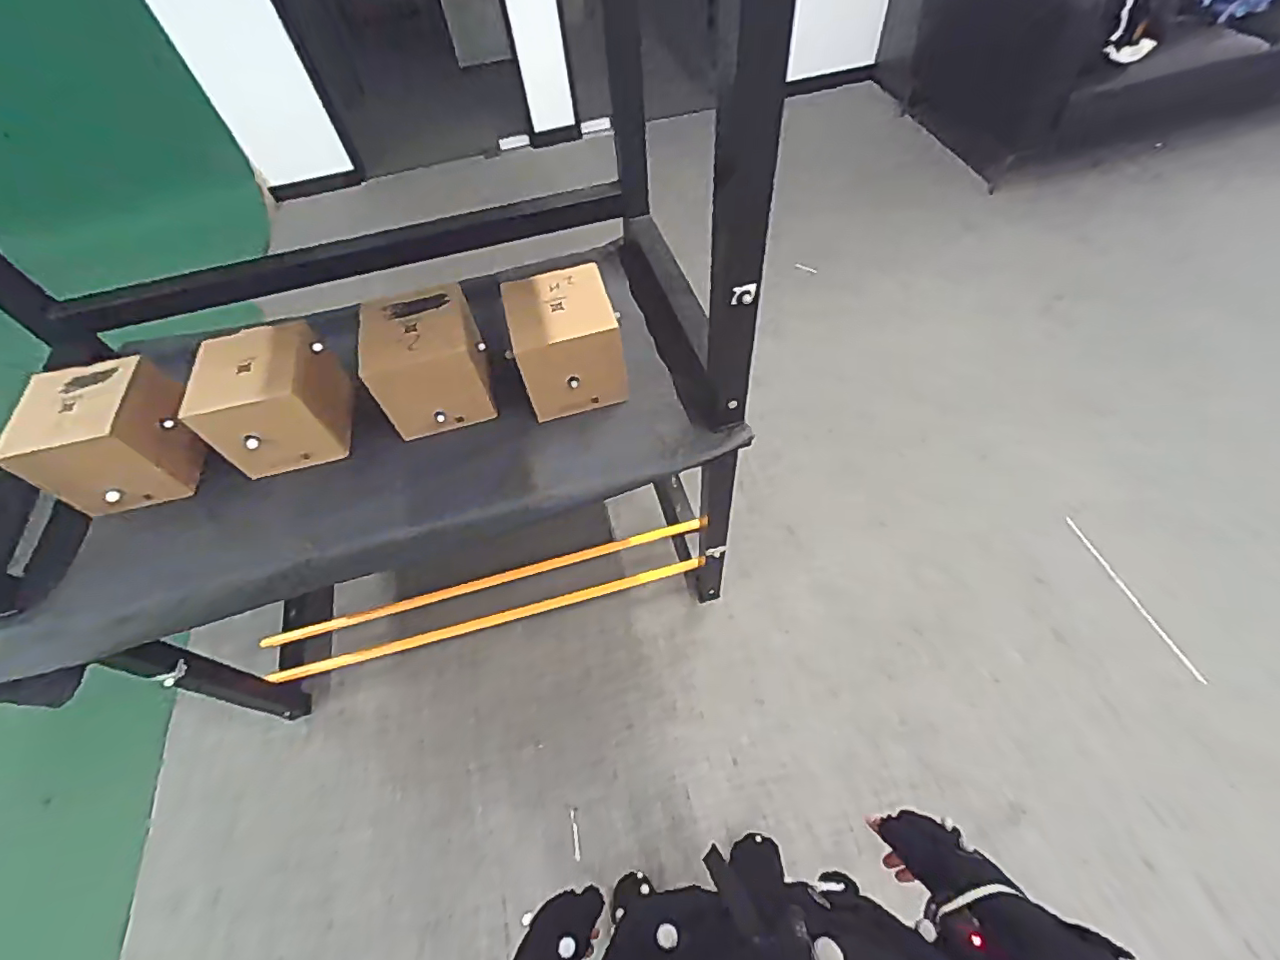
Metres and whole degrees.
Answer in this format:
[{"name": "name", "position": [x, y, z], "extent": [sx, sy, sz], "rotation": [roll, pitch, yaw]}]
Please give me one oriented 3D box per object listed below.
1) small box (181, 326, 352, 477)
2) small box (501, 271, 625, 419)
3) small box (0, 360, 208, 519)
[{"name": "small box", "position": [-0.607, -0.123, 0.907], "extent": [0.168, 0.176, 0.179], "rotation": [-14, 56, -5]}, {"name": "small box", "position": [-0.128, -0.223, 0.931], "extent": [0.168, 0.176, 0.179], "rotation": [-14, 56, -5]}, {"name": "small box", "position": [-0.852, -0.063, 0.883], "extent": [0.168, 0.176, 0.179], "rotation": [-14, 56, -4]}]
